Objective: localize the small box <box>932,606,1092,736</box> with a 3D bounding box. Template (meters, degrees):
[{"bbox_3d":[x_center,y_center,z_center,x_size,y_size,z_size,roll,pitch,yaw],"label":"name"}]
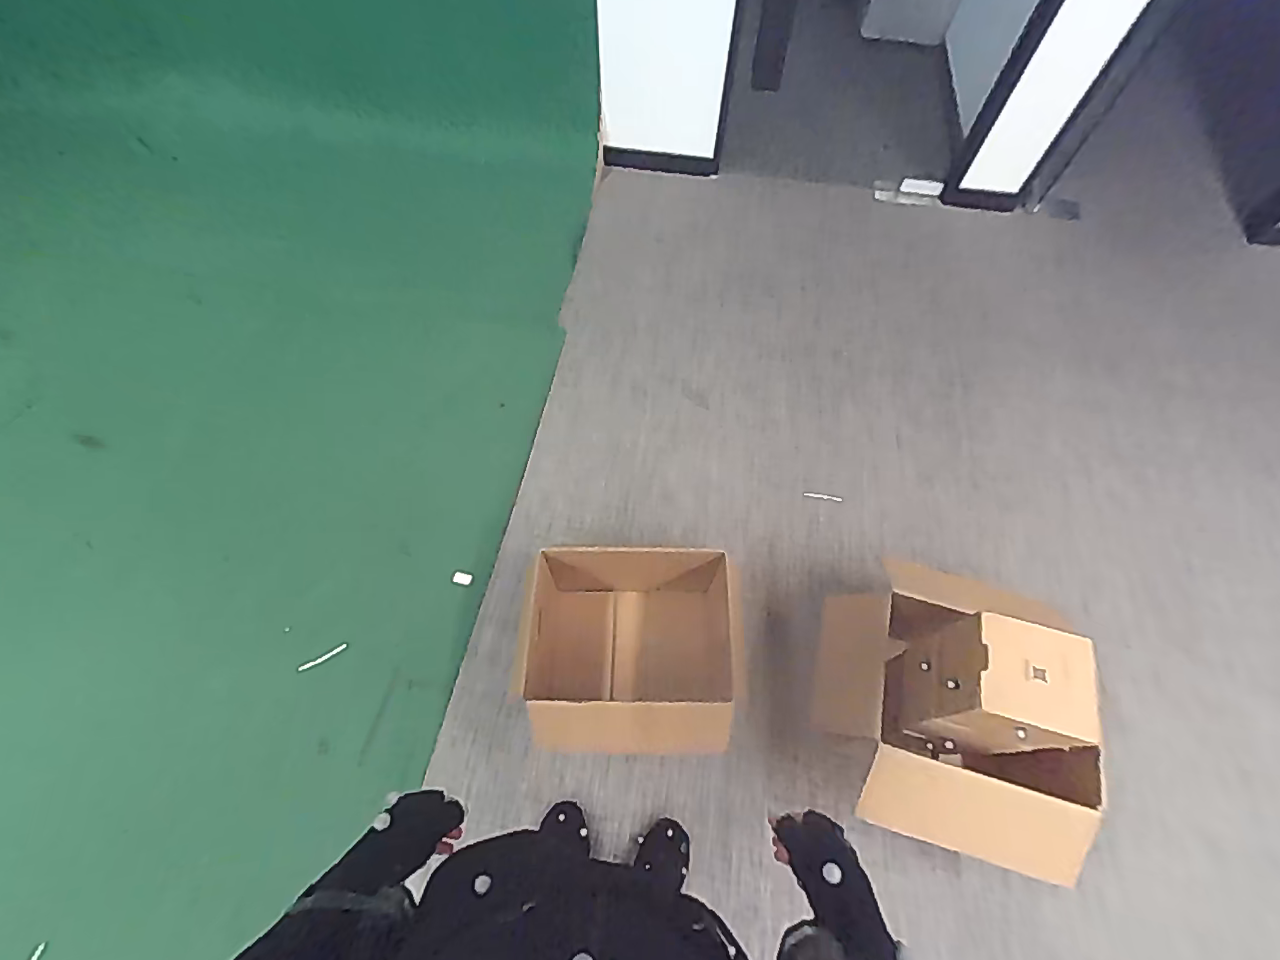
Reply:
[{"bbox_3d":[0.639,0.342,0.954,0.179,0.176,0.168,13,64,8],"label":"small box"}]

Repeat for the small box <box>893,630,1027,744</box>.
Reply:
[{"bbox_3d":[0.640,0.424,1.094,0.179,0.176,0.168,14,62,8],"label":"small box"}]
